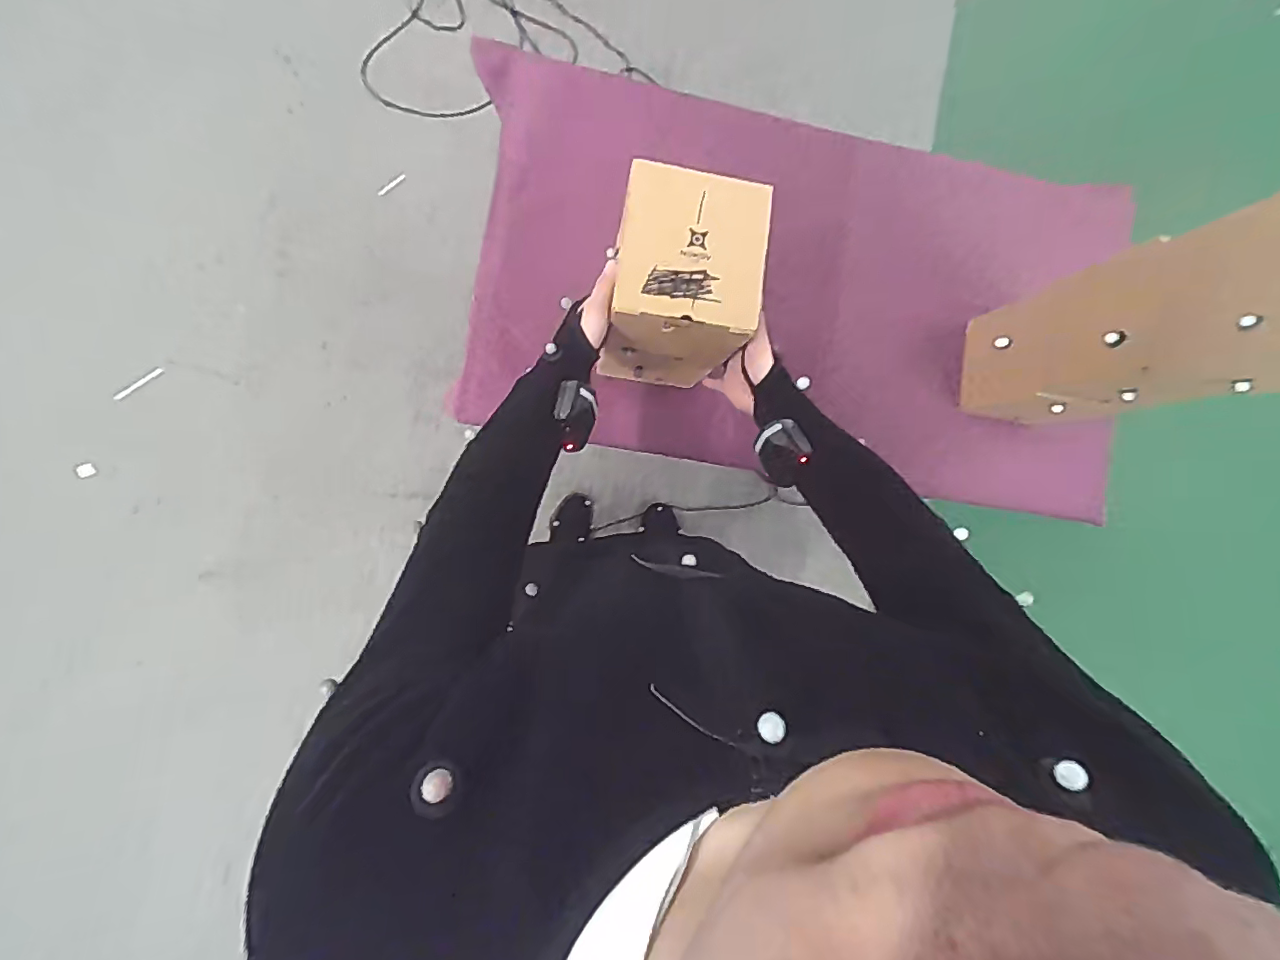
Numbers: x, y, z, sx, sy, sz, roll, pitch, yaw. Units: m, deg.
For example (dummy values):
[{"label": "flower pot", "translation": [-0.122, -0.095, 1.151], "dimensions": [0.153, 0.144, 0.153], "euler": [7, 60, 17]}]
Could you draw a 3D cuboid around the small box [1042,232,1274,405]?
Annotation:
[{"label": "small box", "translation": [0.714, -0.212, 0.765], "dimensions": [0.168, 0.176, 0.179], "euler": [10, 87, -8]}]

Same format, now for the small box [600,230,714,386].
[{"label": "small box", "translation": [0.029, -0.253, 0.842], "dimensions": [0.168, 0.176, 0.179], "euler": [7, 87, -7]}]

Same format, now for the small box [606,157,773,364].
[{"label": "small box", "translation": [0.050, -0.257, 0.678], "dimensions": [0.168, 0.176, 0.179], "euler": [8, 86, -7]}]

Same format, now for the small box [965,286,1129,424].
[{"label": "small box", "translation": [0.693, -0.205, 0.928], "dimensions": [0.168, 0.176, 0.179], "euler": [8, 86, -6]}]
